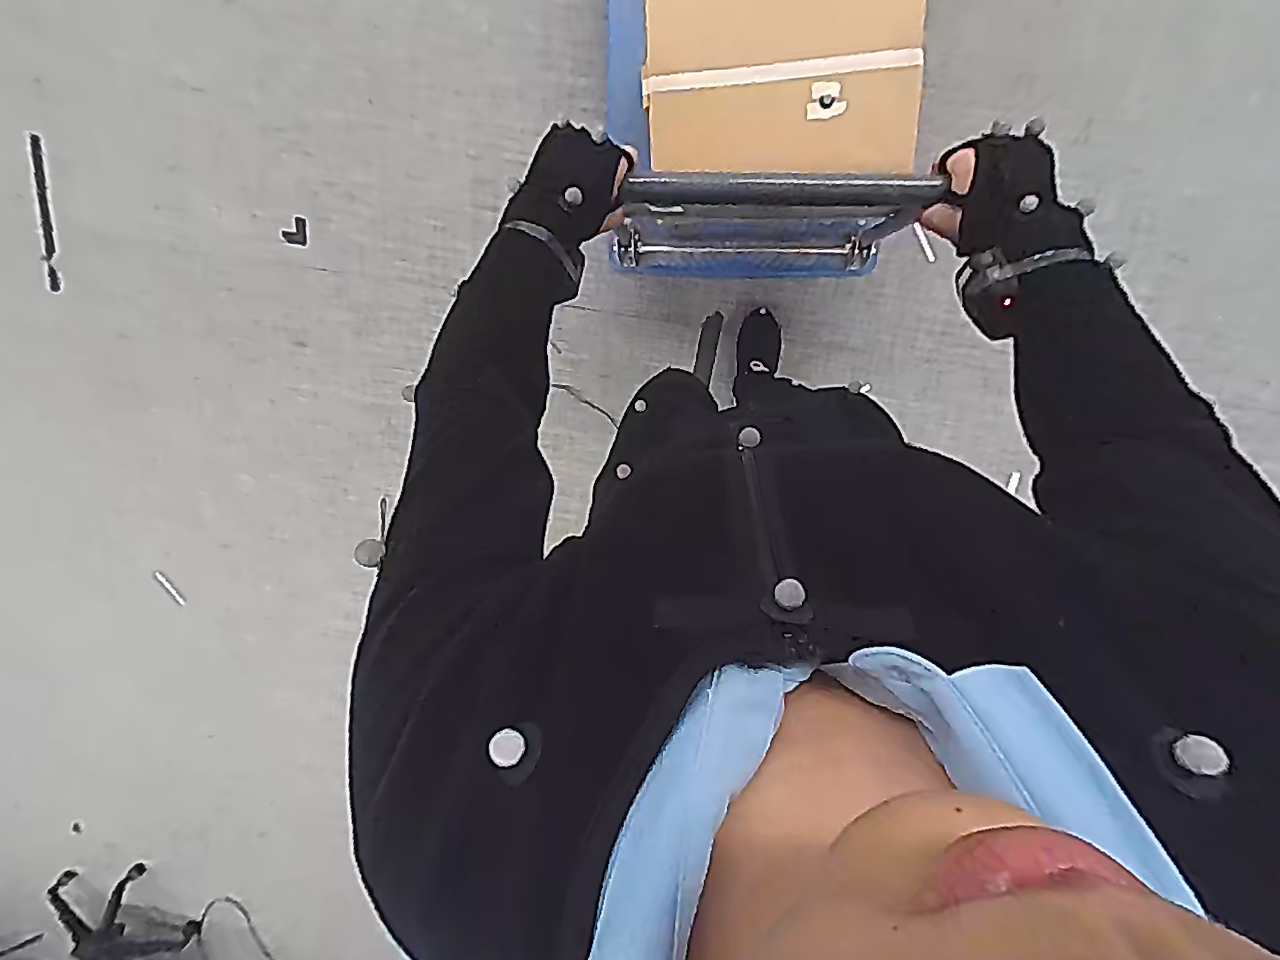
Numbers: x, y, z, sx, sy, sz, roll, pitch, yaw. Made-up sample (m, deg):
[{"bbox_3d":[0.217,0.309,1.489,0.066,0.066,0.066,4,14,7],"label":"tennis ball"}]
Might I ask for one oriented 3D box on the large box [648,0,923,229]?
[{"bbox_3d":[0.229,-0.654,0.966,0.408,0.320,0.320,-1,107,5],"label":"large box"}]
